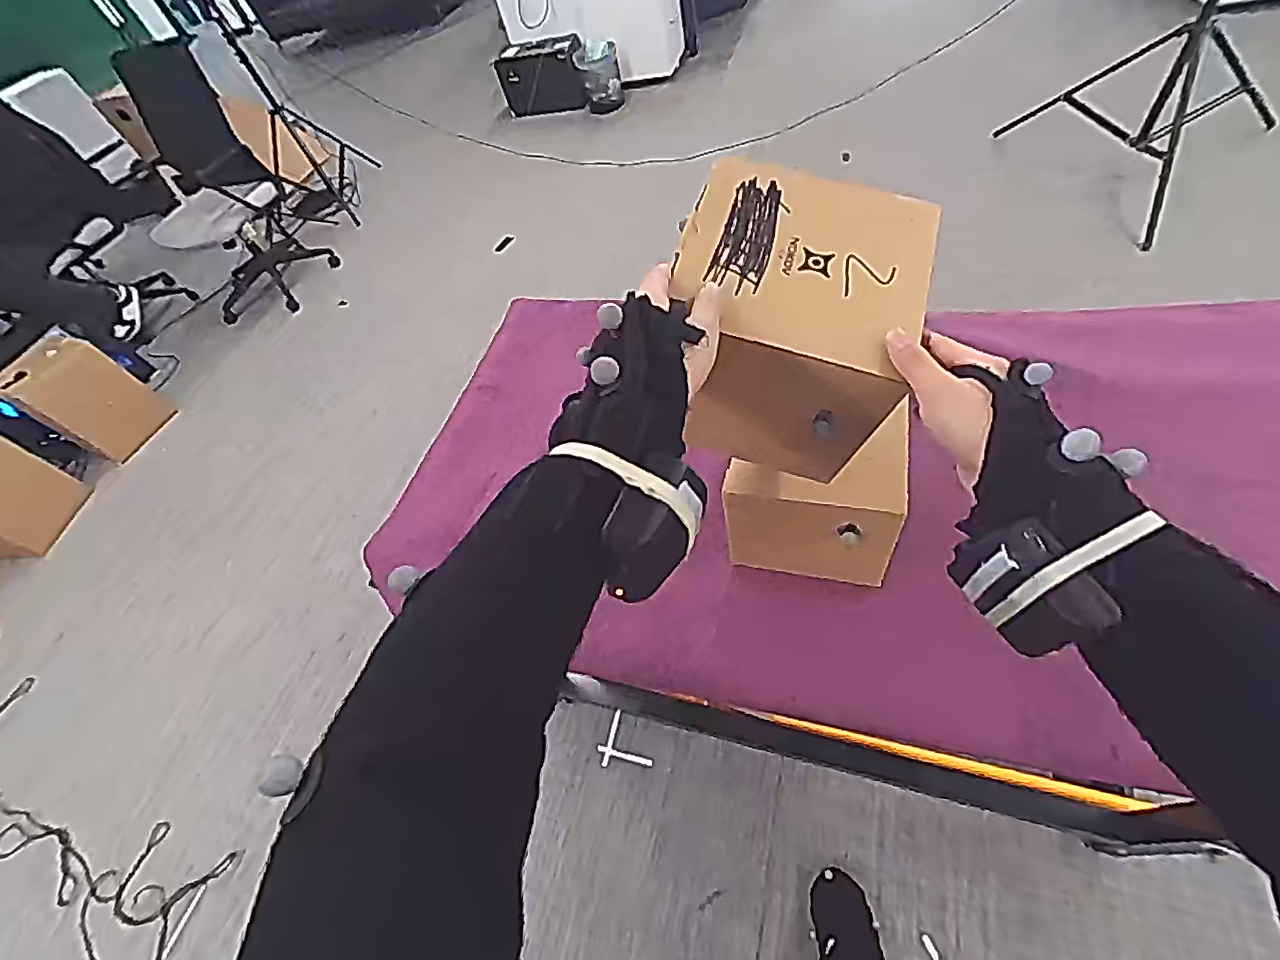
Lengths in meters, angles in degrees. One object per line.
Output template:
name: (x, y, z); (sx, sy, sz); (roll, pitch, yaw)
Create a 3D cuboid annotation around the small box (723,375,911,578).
small box: (0.204, -0.001, 0.632); (0.179, 0.176, 0.168); (7, 56, 19)

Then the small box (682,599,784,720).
small box: (0.203, 0.381, 1.138); (0.168, 0.176, 0.179); (12, 60, 21)
